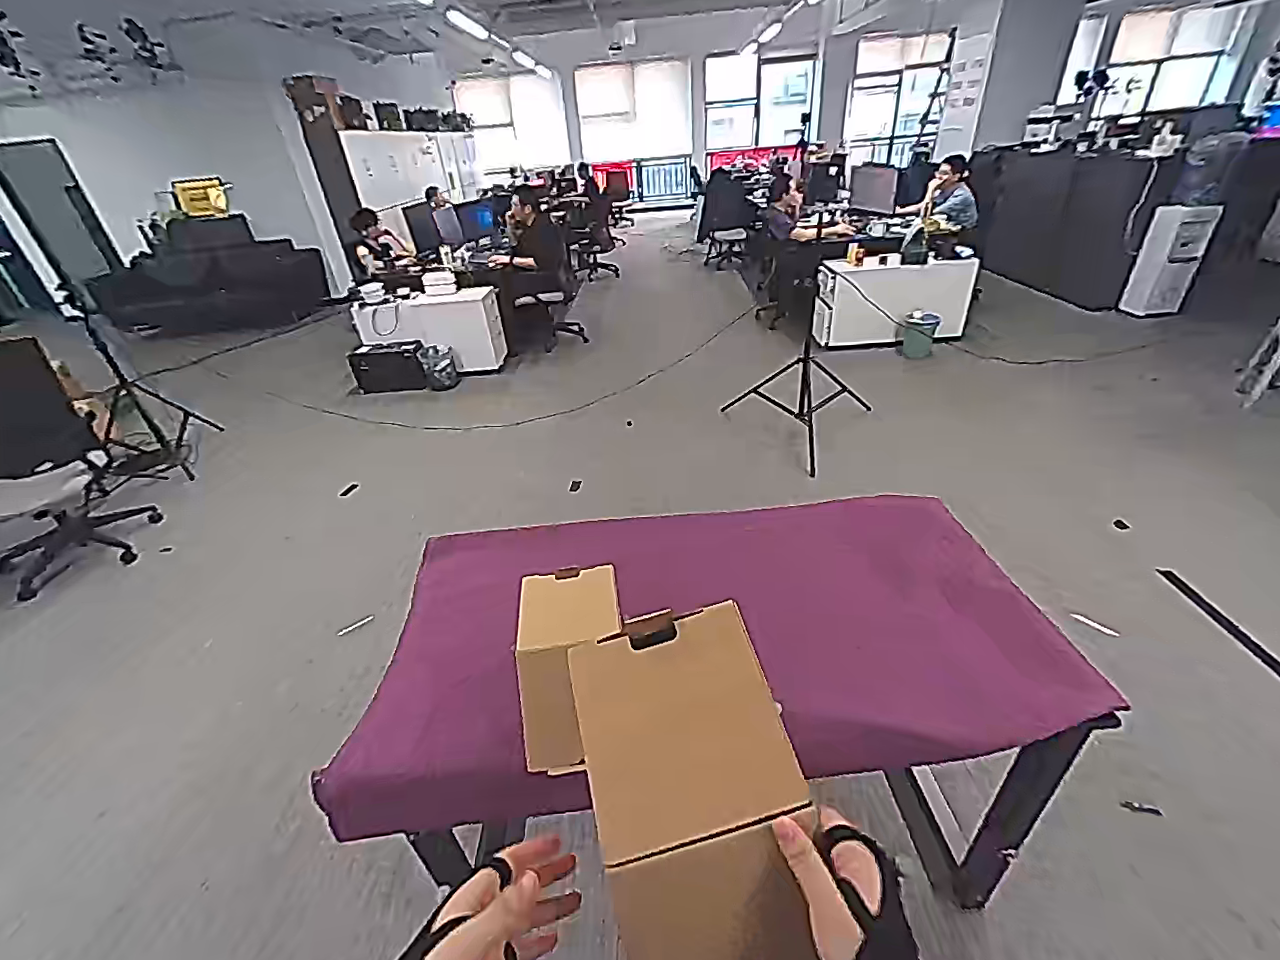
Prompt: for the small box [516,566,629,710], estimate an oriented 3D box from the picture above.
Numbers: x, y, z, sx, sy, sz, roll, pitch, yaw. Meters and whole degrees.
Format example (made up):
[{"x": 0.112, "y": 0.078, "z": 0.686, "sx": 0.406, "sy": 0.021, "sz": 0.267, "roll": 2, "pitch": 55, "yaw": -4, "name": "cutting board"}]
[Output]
[{"x": -0.114, "y": 0.280, "z": 0.947, "sx": 0.168, "sy": 0.176, "sz": 0.179, "roll": -7, "pitch": 31, "yaw": -4, "name": "small box"}]
